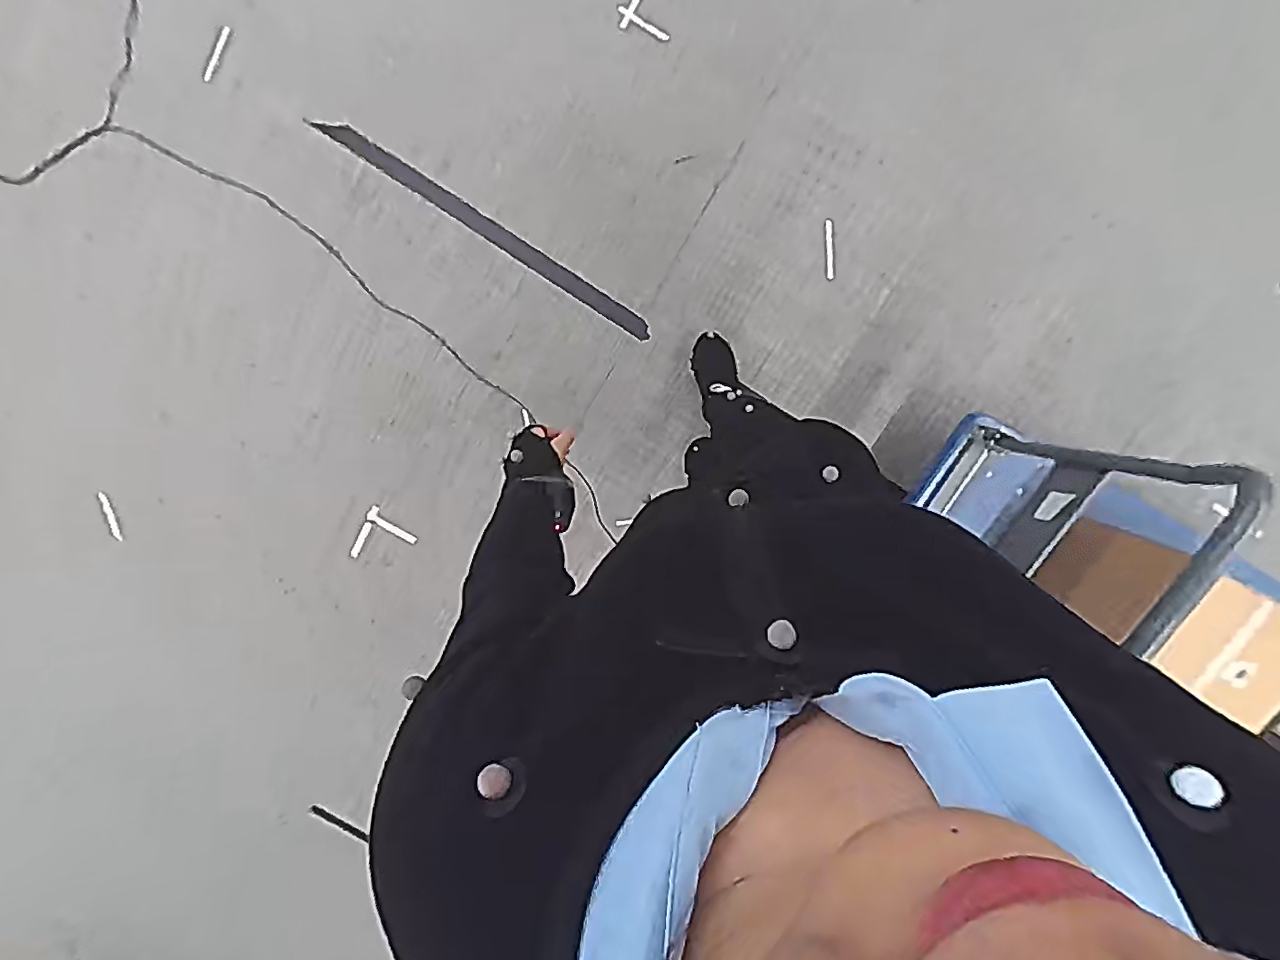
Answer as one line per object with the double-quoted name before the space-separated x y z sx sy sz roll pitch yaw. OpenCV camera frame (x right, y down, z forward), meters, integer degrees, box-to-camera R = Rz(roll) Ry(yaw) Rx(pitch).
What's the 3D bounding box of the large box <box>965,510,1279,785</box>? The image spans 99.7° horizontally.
"large box" 1.014 0.332 1.164 0.320 0.320 0.408 30 100 -2
